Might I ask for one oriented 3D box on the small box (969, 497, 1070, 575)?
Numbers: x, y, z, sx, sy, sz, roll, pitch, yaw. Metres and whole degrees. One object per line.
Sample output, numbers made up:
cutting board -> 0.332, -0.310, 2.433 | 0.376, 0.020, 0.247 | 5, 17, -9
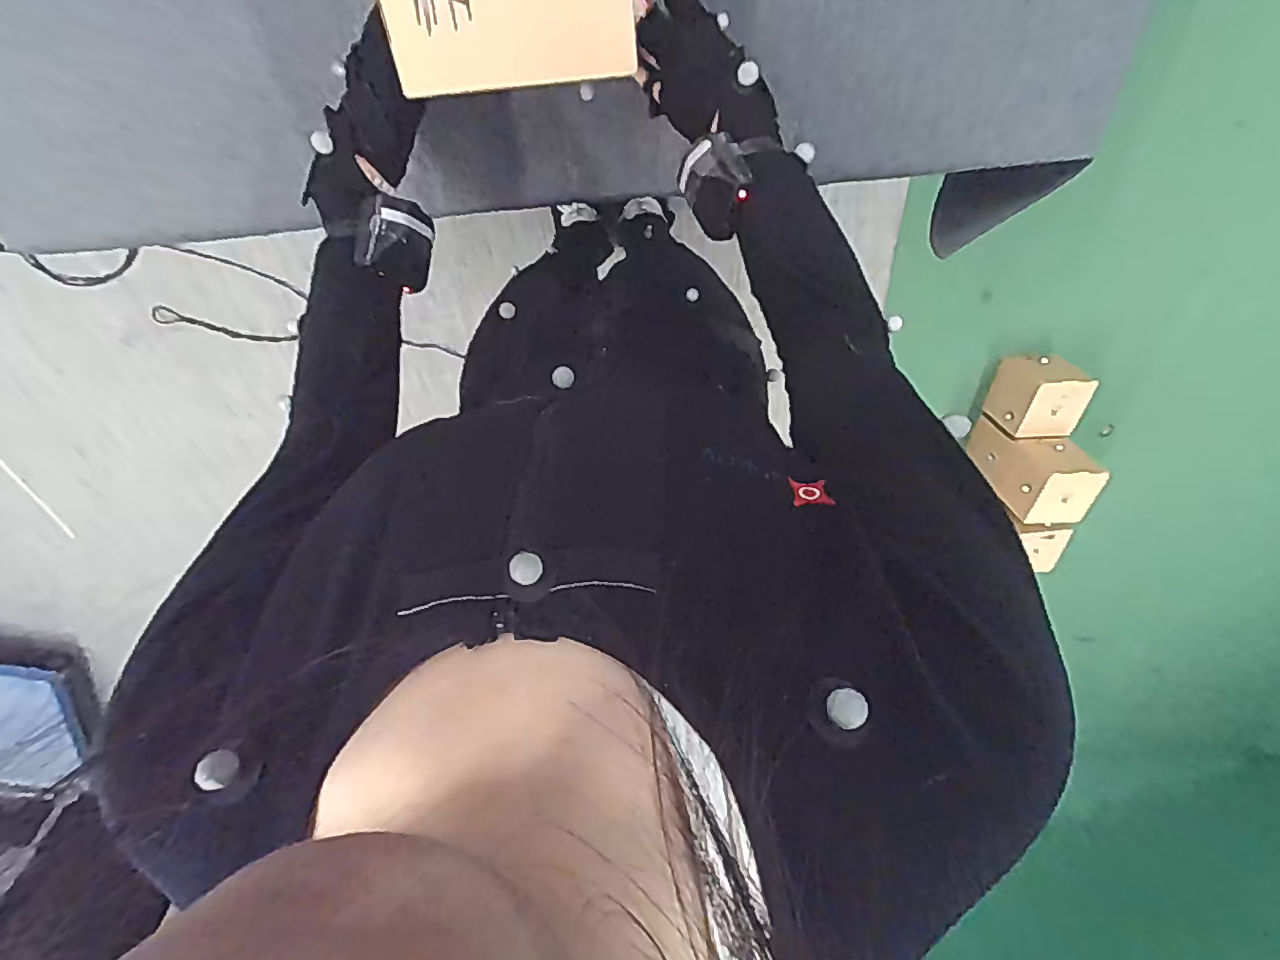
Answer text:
small box -> 1.148, 0.166, 1.656 | 0.168, 0.176, 0.179 | -5, 128, -1

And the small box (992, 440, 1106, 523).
small box -> 1.146, 0.004, 1.536 | 0.168, 0.176, 0.179 | -1, 126, -3
